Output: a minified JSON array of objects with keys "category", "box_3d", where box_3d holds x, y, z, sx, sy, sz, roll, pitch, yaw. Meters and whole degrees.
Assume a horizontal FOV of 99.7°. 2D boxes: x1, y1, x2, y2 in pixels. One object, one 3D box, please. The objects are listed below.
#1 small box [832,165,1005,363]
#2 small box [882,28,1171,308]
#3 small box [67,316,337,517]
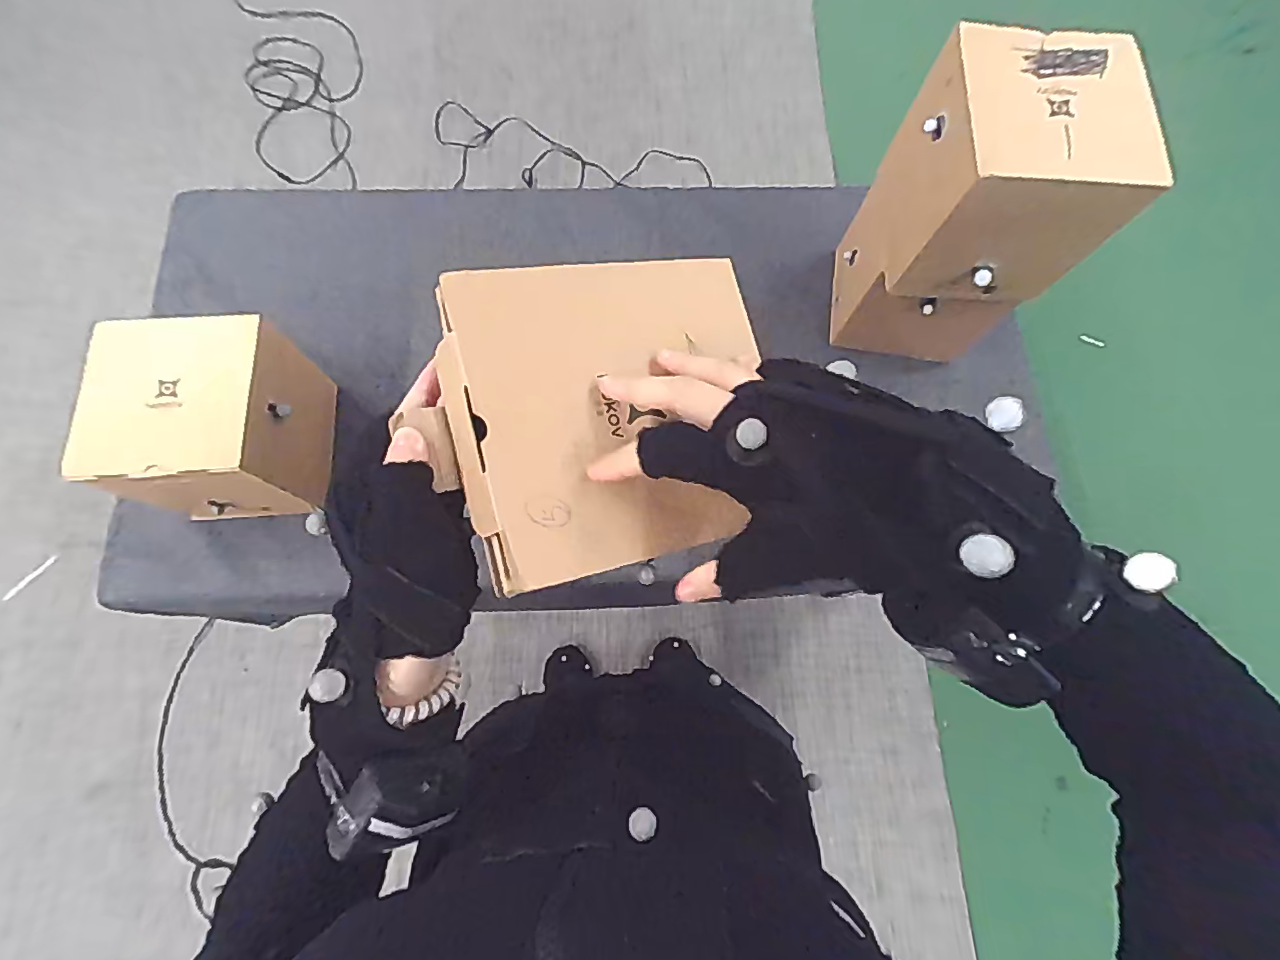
[{"category":"small box","box_3d":[0.369,-0.273,0.712,0.179,0.176,0.168,10,74,1]},{"category":"small box","box_3d":[0.364,-0.303,0.549,0.168,0.176,0.179,4,74,0]},{"category":"small box","box_3d":[-0.473,-0.064,0.620,0.168,0.176,0.179,-4,74,-4]}]
